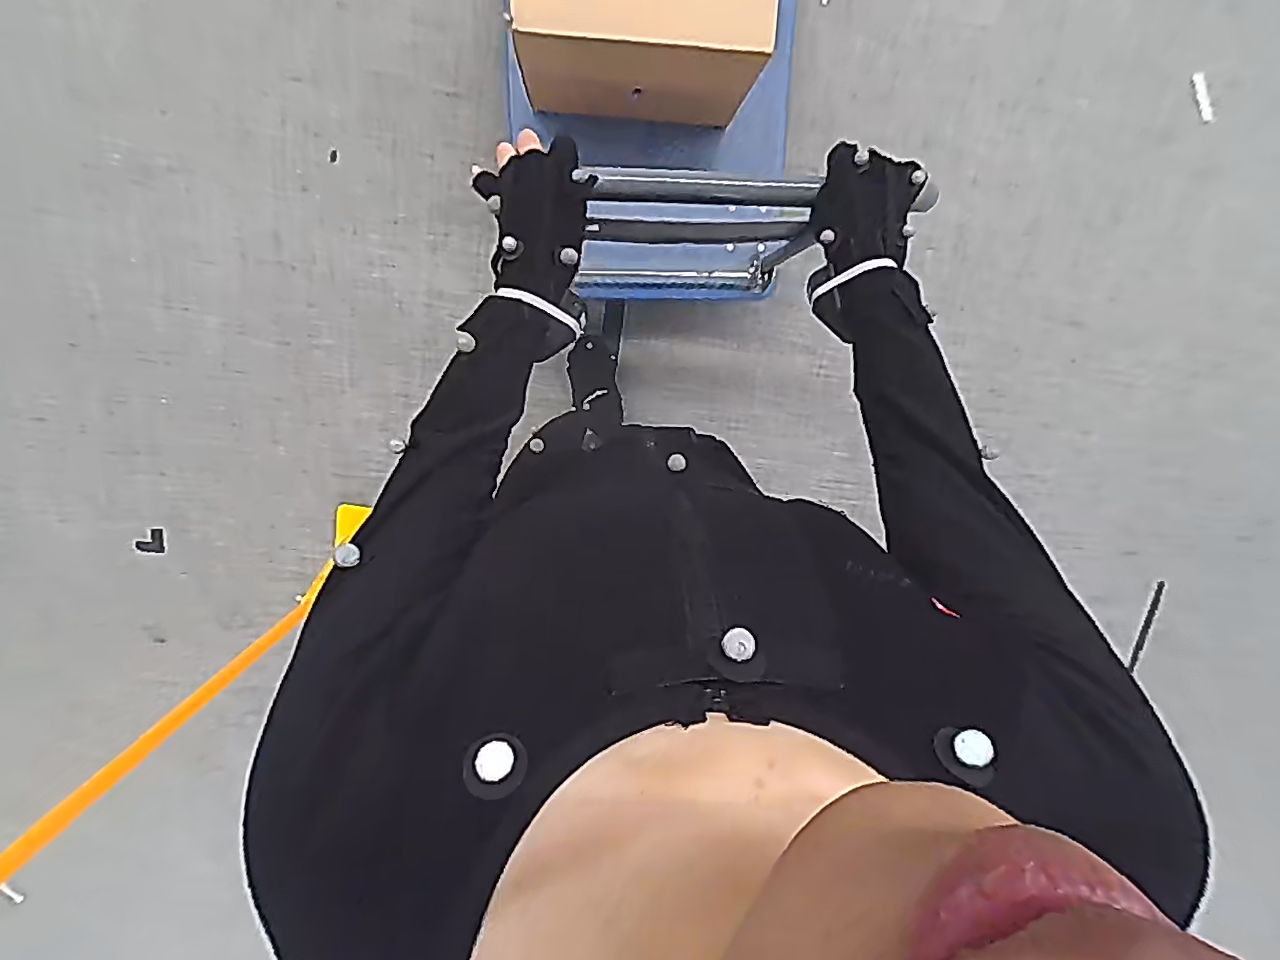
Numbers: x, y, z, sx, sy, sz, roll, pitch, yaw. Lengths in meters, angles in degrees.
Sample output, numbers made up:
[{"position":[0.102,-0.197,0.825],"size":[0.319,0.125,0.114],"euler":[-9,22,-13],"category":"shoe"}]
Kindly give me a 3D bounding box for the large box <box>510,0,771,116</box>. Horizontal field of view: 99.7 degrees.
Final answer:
[{"position":[-0.003,-0.865,0.937],"size":[0.408,0.320,0.320],"euler":[1,105,-4],"category":"large box"}]
